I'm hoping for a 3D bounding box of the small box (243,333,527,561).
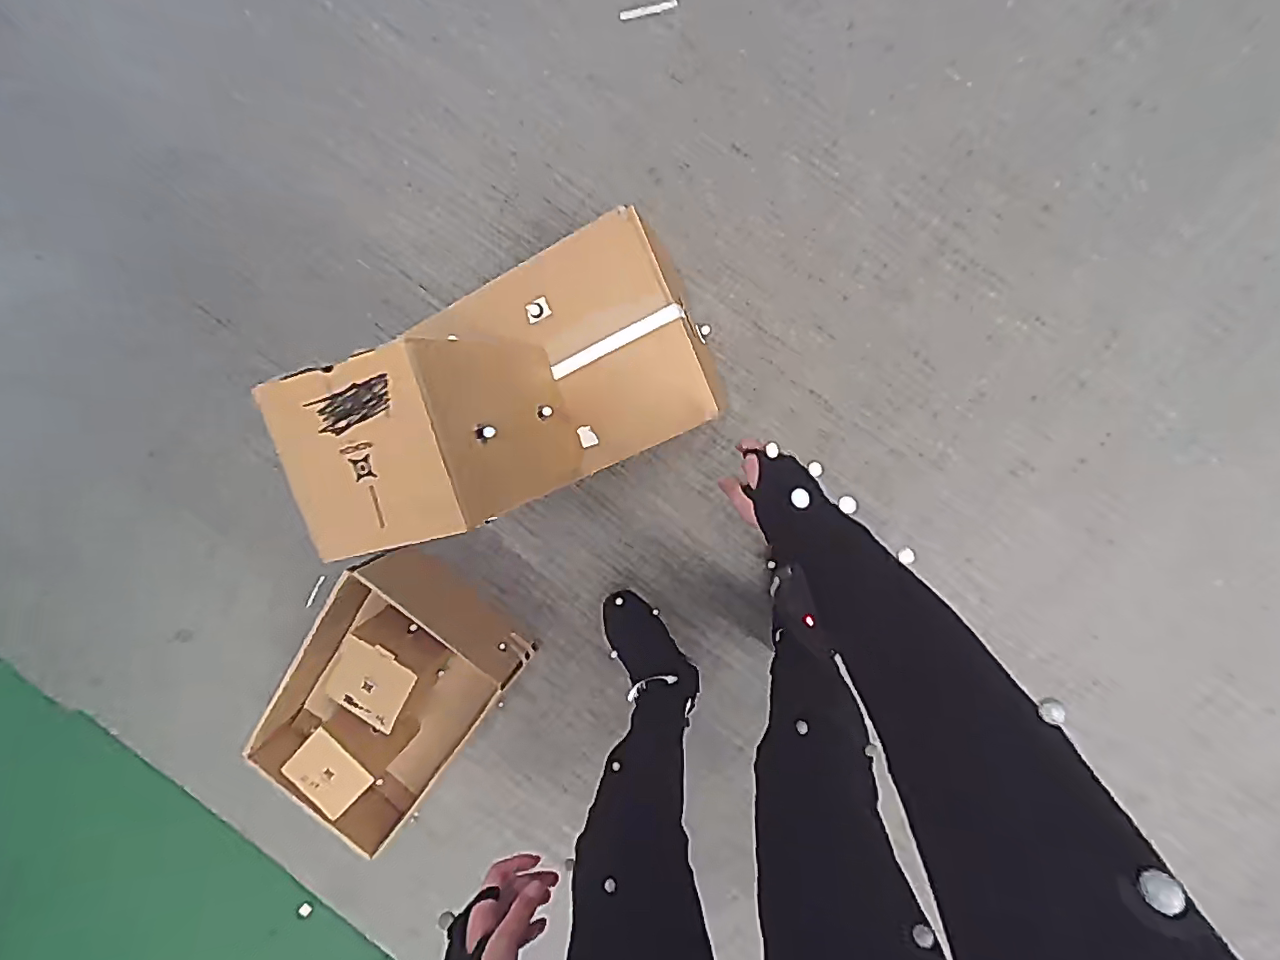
[{"bbox_3d":[-0.238,-0.040,0.551,0.168,0.176,0.179,-13,101,14],"label":"small box"}]

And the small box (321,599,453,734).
[{"bbox_3d":[-0.528,0.386,1.153,0.168,0.176,0.179,32,107,3],"label":"small box"}]
